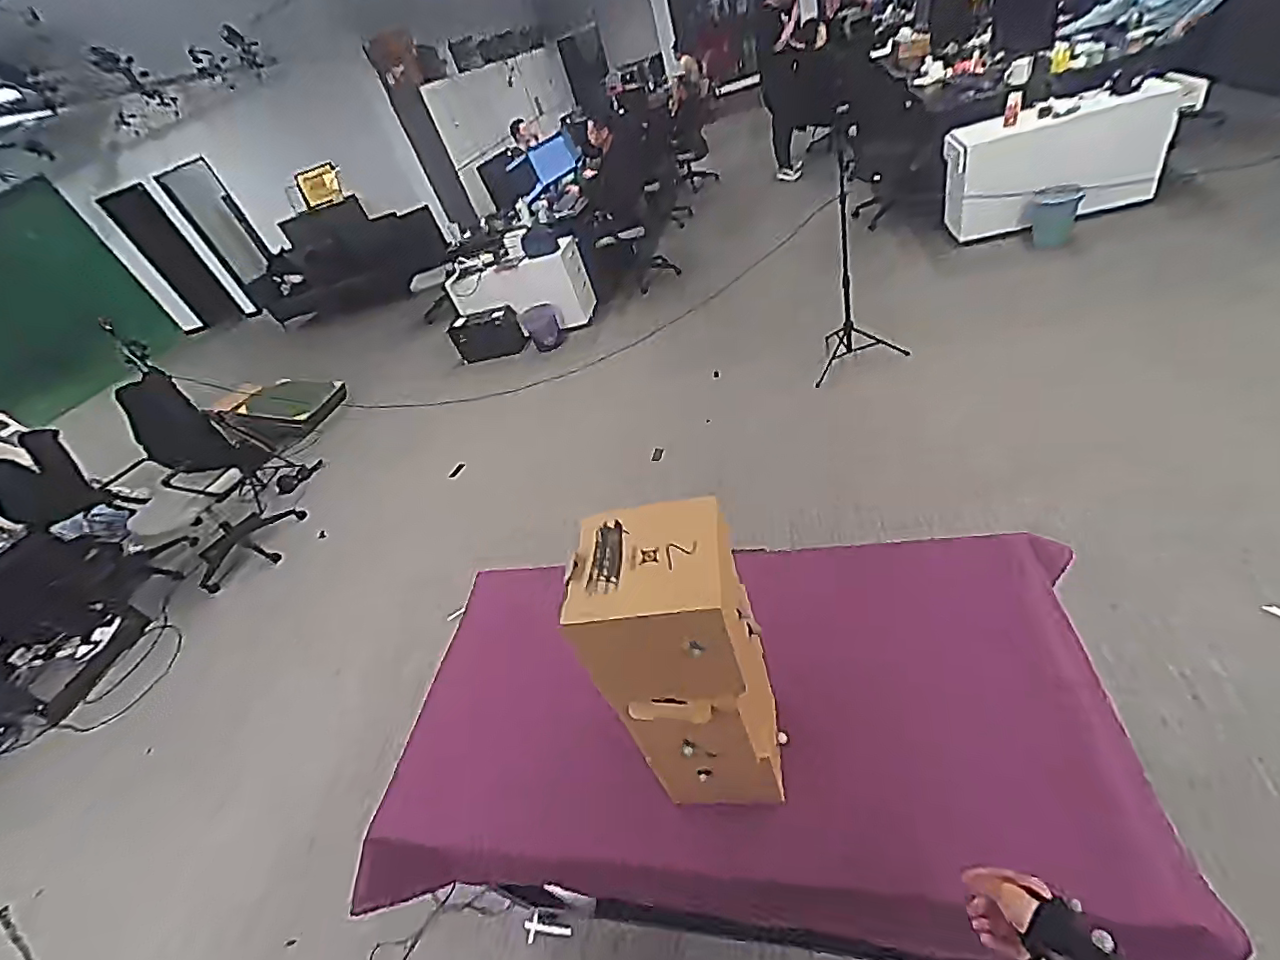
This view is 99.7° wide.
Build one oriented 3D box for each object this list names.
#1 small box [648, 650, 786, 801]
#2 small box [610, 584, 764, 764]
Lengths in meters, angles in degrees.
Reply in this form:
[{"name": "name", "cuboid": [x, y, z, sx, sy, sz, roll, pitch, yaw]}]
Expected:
[{"name": "small box", "cuboid": [0.124, 0.388, 0.851, 0.179, 0.176, 0.168, -9, 40, 15]}, {"name": "small box", "cuboid": [0.076, 0.265, 0.753, 0.168, 0.176, 0.179, -6, 41, 20]}]
